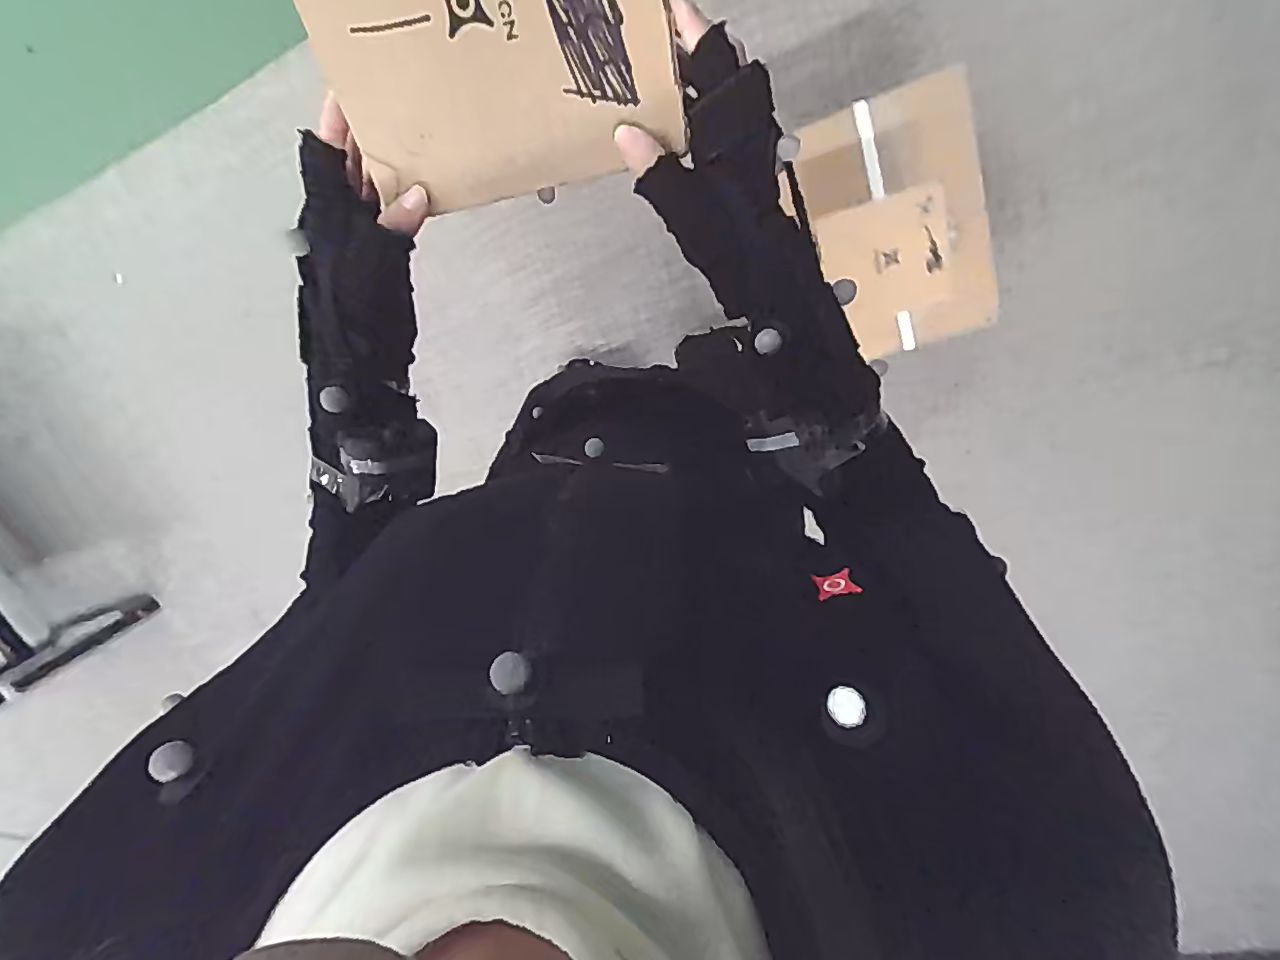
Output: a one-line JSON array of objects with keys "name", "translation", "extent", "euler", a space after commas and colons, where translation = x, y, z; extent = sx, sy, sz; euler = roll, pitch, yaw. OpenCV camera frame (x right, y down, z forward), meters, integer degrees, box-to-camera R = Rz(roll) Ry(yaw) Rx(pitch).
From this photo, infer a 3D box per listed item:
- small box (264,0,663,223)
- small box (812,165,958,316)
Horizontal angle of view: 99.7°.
[{"name": "small box", "translation": [-0.088, -0.275, 0.318], "extent": [0.179, 0.176, 0.168], "euler": [-10, 126, 9]}, {"name": "small box", "translation": [0.374, -0.367, 0.852], "extent": [0.179, 0.176, 0.168], "euler": [-12, 109, 16]}]
